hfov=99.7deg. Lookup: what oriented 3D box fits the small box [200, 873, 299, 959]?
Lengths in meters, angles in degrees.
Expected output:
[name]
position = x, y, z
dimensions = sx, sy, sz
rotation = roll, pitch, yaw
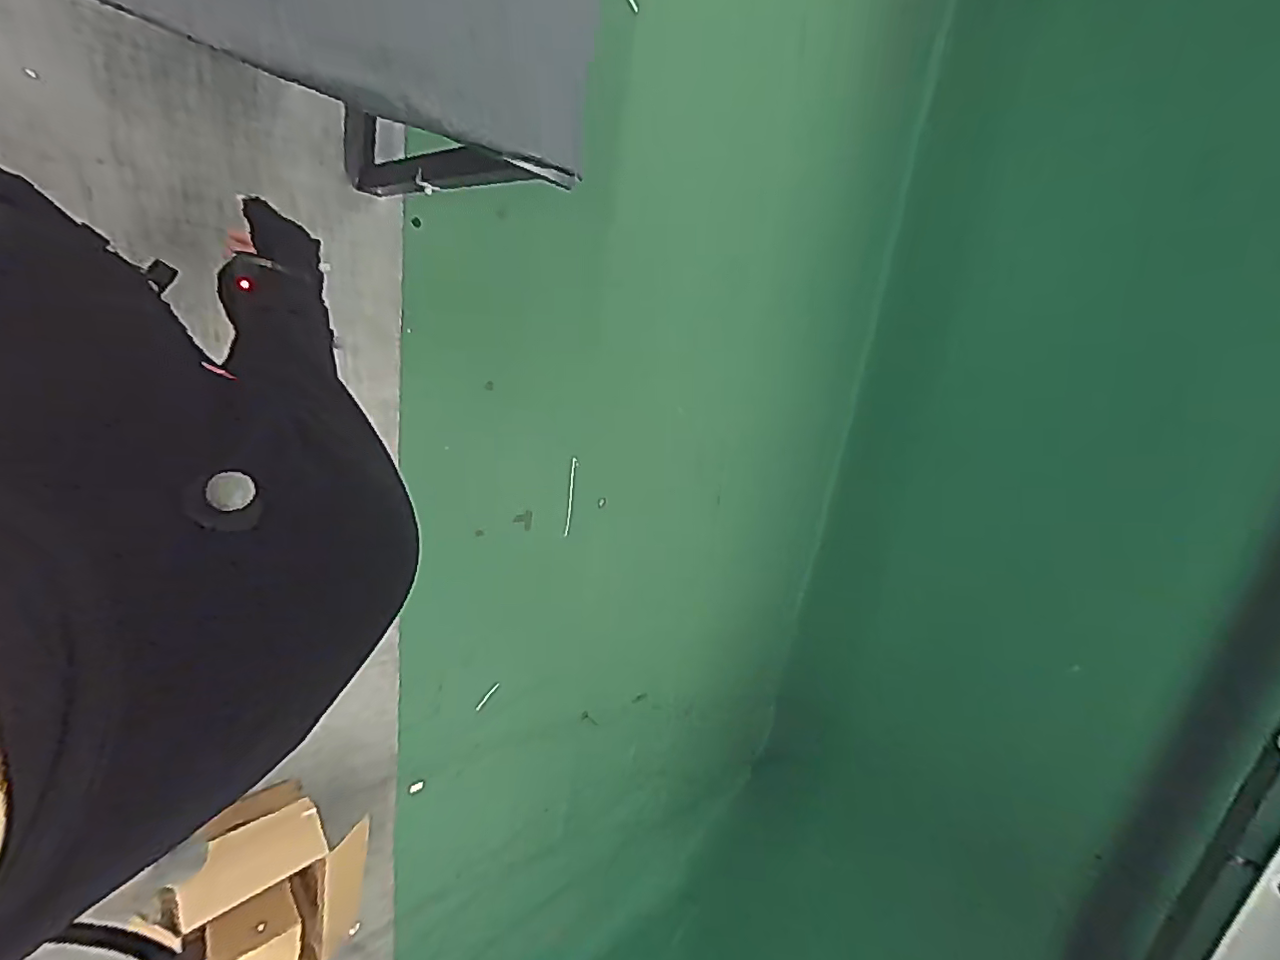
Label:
[small box]
position = -0.980, 1.148, 1.352
dimensions = 0.179, 0.176, 0.168
rotation = -4, 110, -48
